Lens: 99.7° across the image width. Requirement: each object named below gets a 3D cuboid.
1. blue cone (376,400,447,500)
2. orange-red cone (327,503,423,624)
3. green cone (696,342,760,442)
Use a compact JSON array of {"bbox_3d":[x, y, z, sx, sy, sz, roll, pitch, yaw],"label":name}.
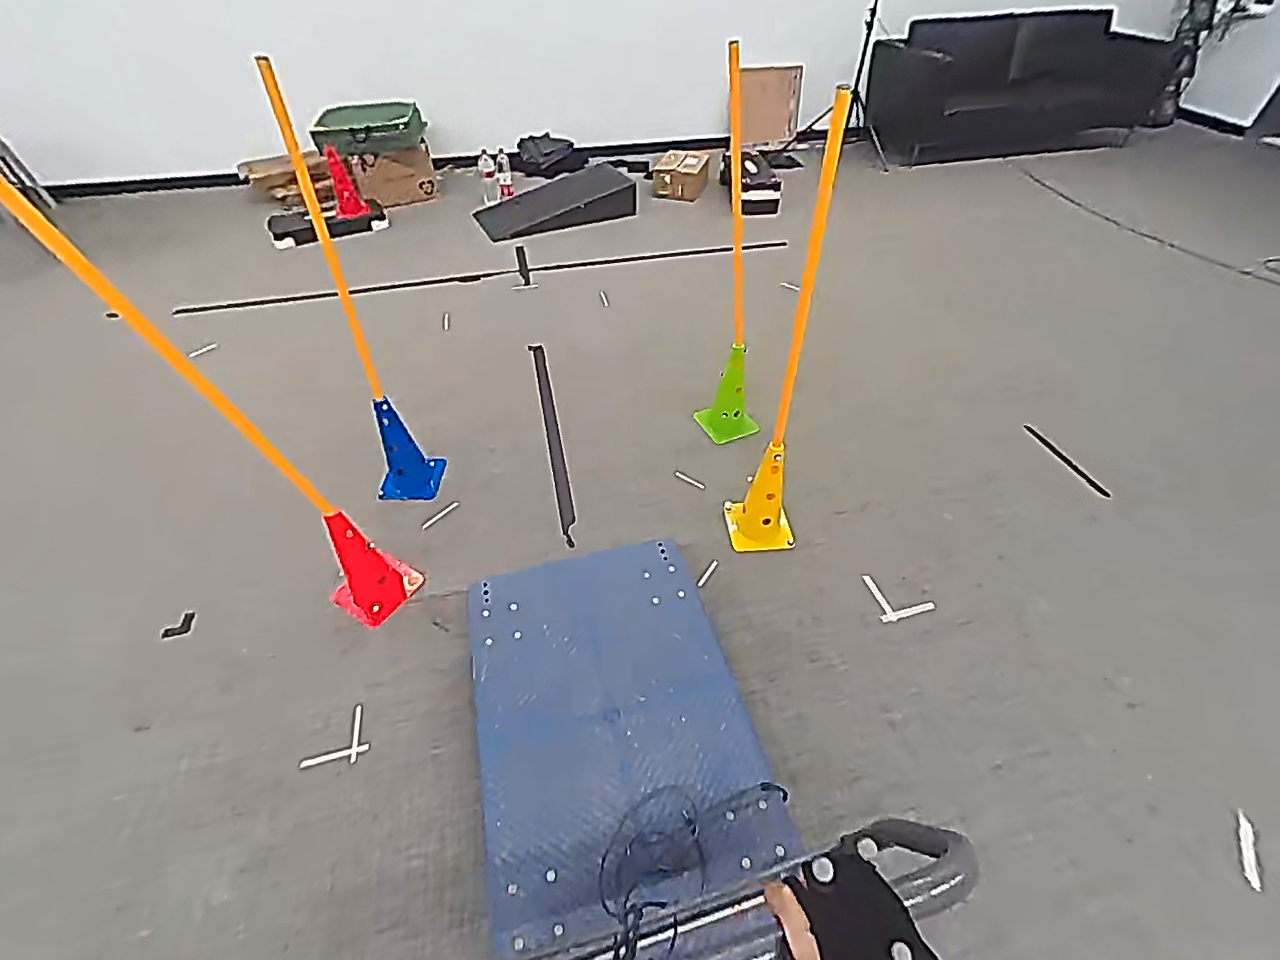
[{"bbox_3d":[-0.791,-0.115,1.793,0.193,0.380,0.192,1,47,1],"label":"blue cone"},{"bbox_3d":[-0.767,0.193,1.475,0.198,0.360,0.199,25,49,21],"label":"orange-red cone"},{"bbox_3d":[0.348,-0.350,2.004,0.200,0.368,0.202,-20,51,-18],"label":"green cone"}]
